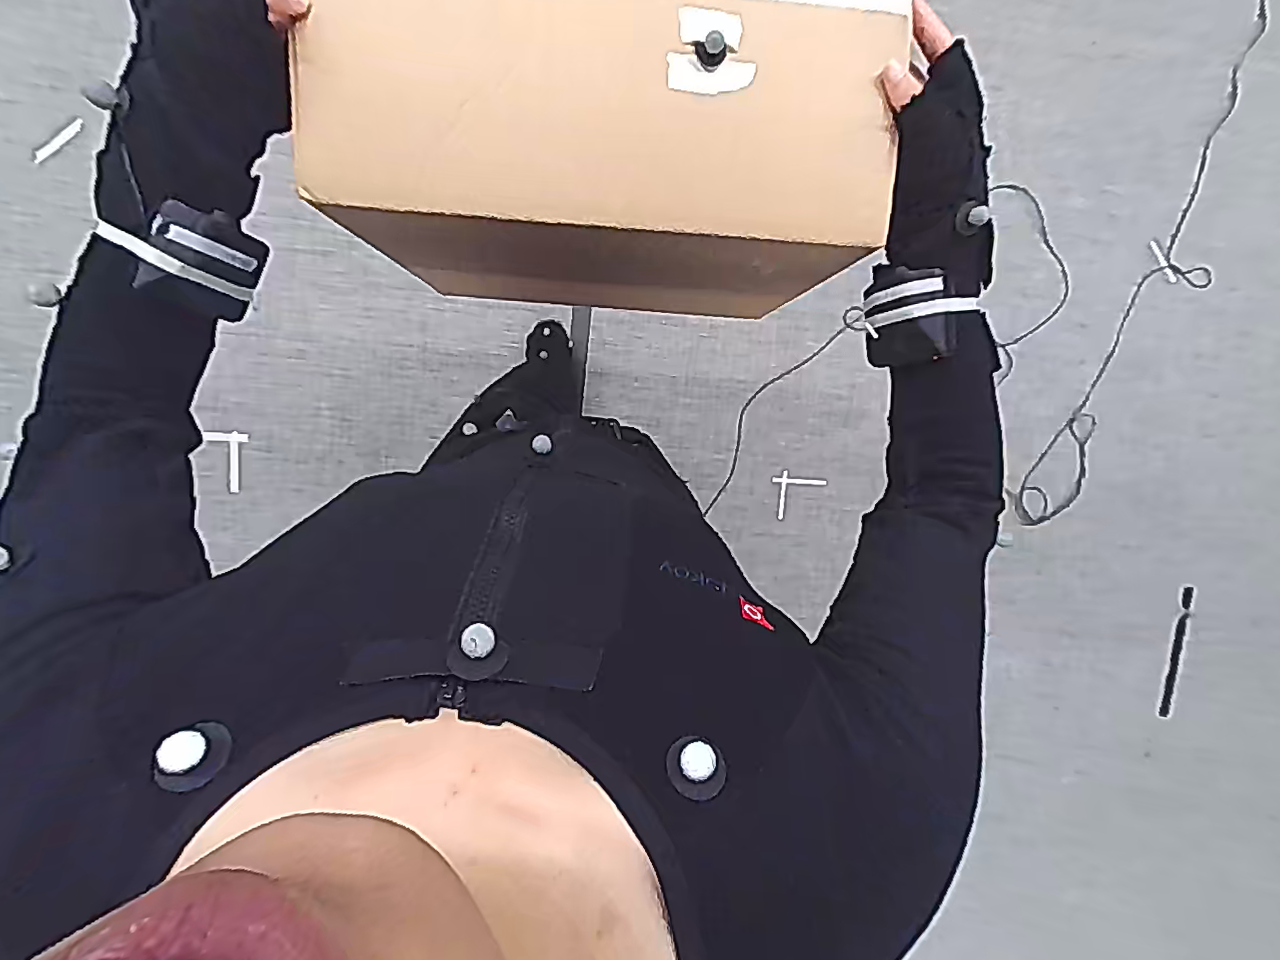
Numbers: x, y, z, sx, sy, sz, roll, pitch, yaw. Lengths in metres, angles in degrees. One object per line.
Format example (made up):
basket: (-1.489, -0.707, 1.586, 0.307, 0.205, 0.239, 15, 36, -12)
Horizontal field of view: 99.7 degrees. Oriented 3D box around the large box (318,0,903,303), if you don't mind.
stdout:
large box: (-0.024, -0.361, 0.512, 0.408, 0.320, 0.320, 2, 98, -4)
